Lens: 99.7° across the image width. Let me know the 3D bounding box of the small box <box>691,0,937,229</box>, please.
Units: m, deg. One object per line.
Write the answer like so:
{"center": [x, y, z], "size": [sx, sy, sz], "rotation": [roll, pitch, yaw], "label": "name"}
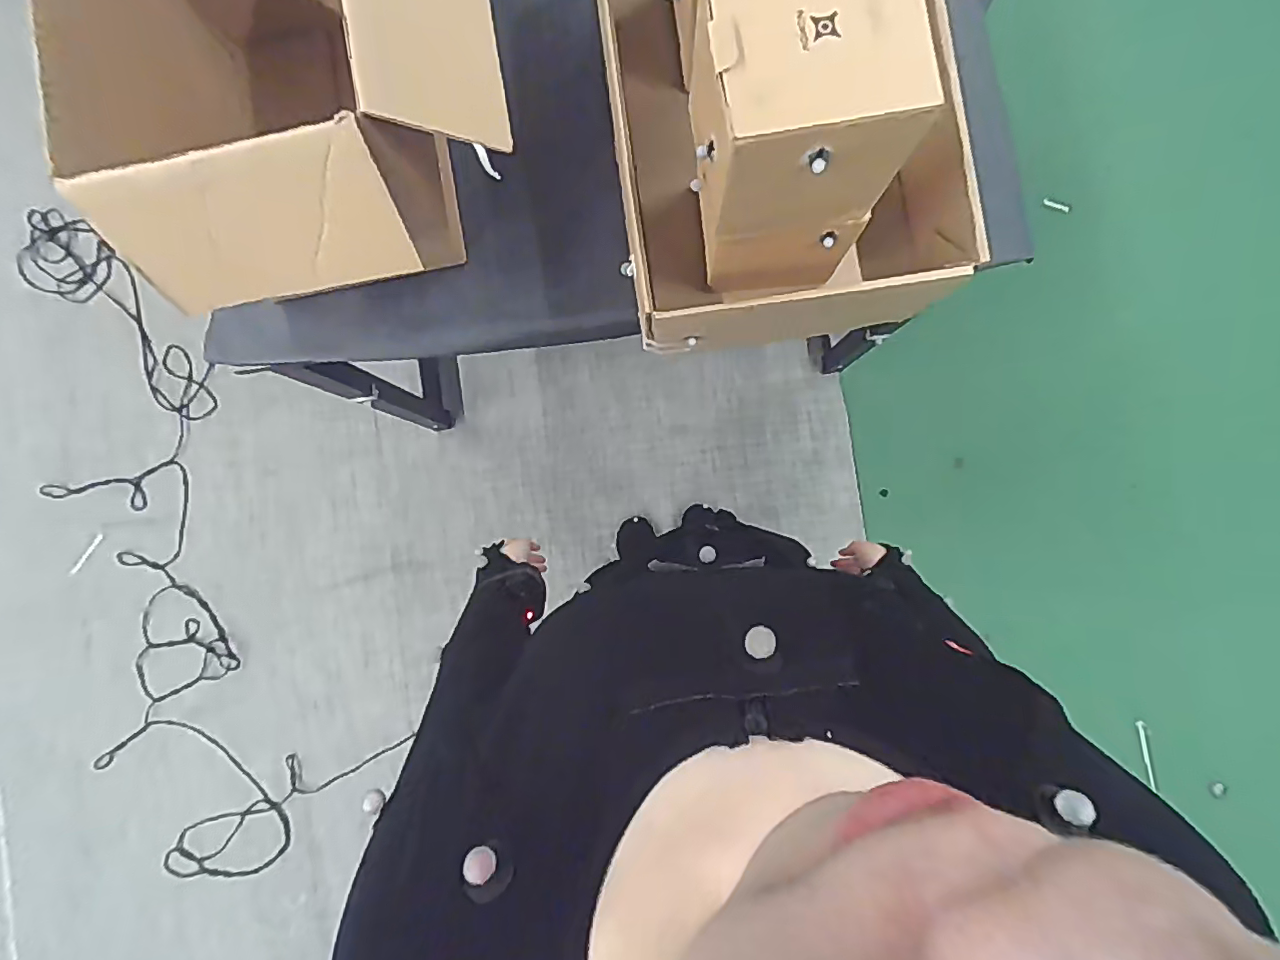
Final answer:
{"center": [0.147, -0.368, 0.524], "size": [0.179, 0.176, 0.168], "rotation": [-9, 88, 1], "label": "small box"}
